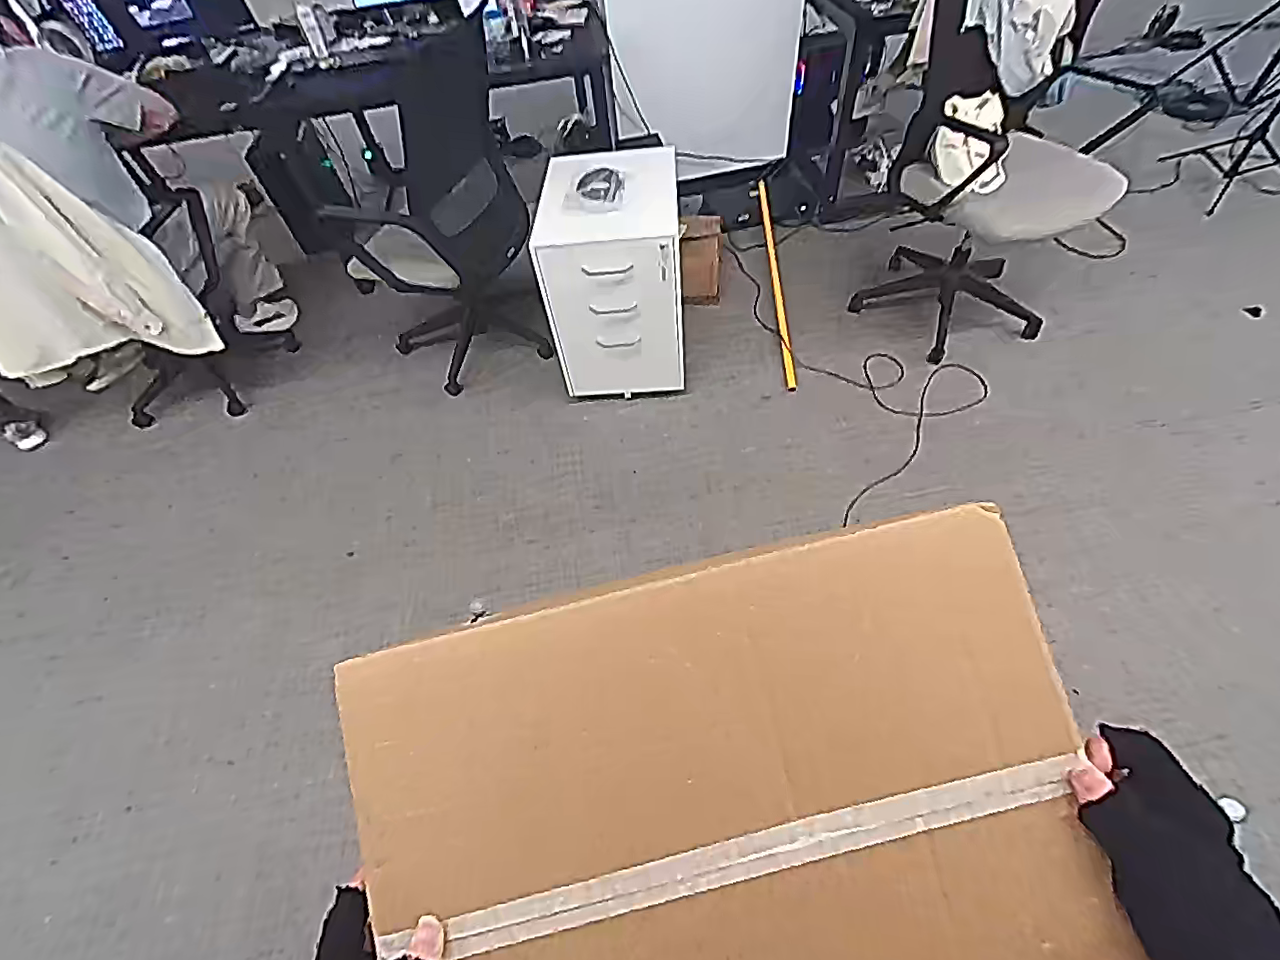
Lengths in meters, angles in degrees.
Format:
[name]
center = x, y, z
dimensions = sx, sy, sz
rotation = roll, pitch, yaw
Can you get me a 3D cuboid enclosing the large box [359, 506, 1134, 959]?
[large box]
center = 0.057, 0.235, 0.459
dimensions = 0.408, 0.320, 0.320
rotation = -14, 82, -1
